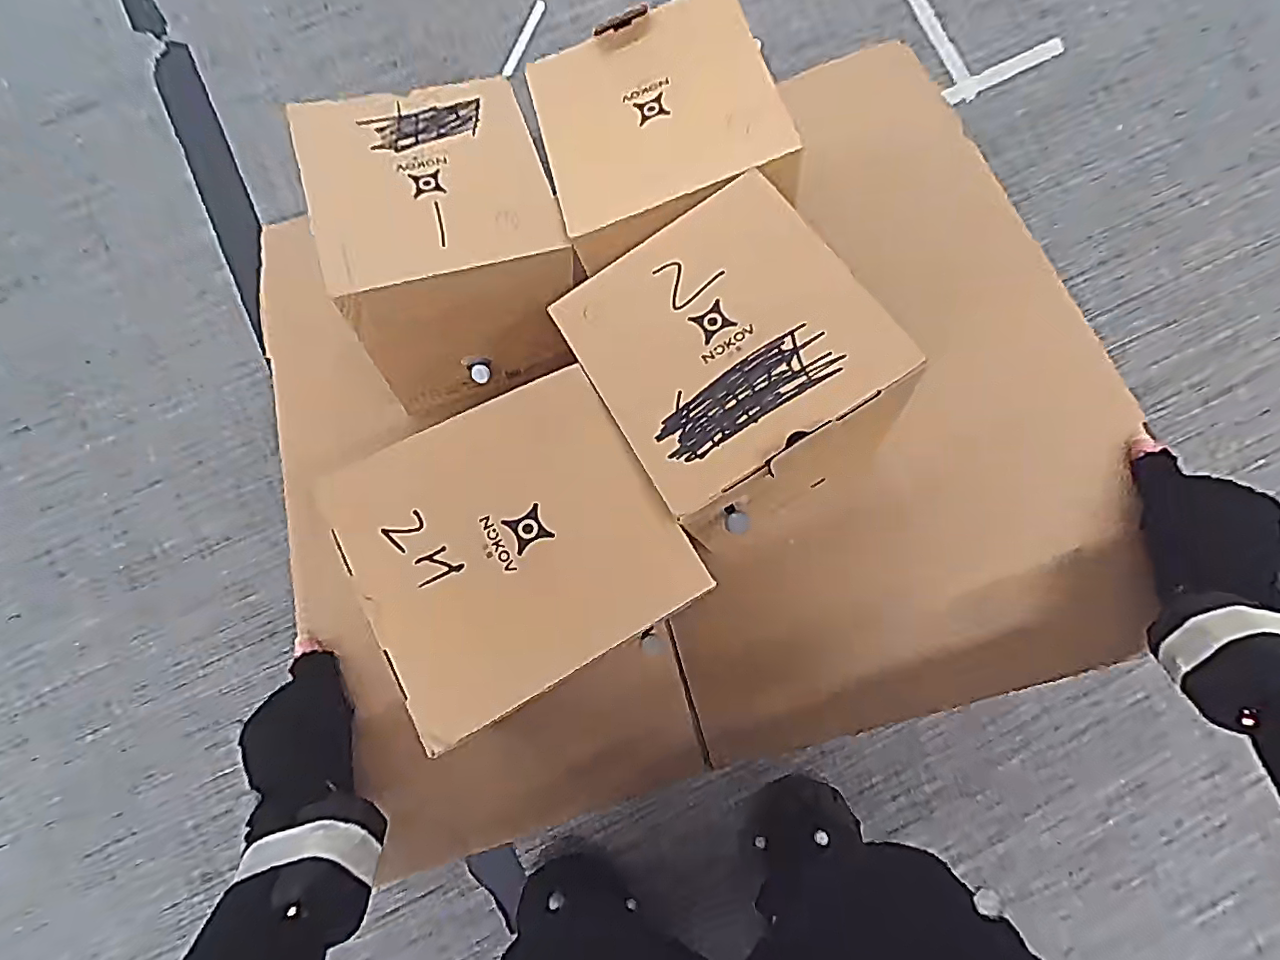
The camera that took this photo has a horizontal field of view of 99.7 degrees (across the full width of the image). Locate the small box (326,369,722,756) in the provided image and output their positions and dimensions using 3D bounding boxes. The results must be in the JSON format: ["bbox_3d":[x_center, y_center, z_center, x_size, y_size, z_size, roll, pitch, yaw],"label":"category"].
[{"bbox_3d":[-0.073,0.058,0.382,0.179,0.176,0.168,-28,76,-14],"label":"small box"}]
